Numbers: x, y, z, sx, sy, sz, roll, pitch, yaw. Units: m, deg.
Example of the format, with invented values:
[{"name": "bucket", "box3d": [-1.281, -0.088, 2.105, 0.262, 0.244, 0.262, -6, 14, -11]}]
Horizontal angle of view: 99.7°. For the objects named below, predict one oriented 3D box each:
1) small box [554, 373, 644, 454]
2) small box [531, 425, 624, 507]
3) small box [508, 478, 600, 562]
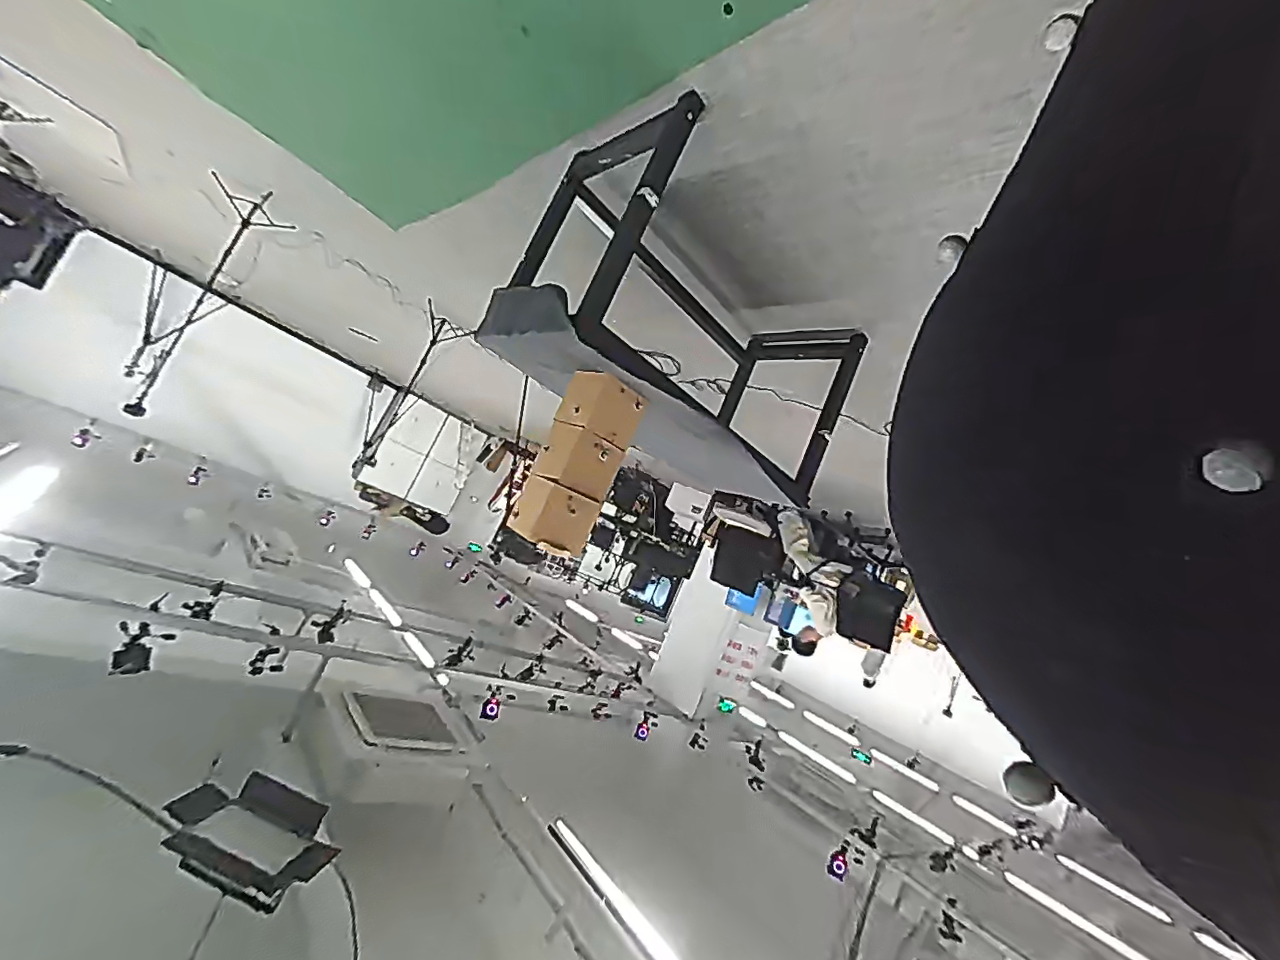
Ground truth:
[{"name": "small box", "box3d": [-0.110, -0.193, 1.552, 0.168, 0.176, 0.179, 30, 173, -41]}, {"name": "small box", "box3d": [-0.174, -0.045, 1.531, 0.168, 0.176, 0.179, 28, 172, -37]}, {"name": "small box", "box3d": [-0.237, 0.105, 1.506, 0.168, 0.176, 0.179, 27, 174, -34]}]
